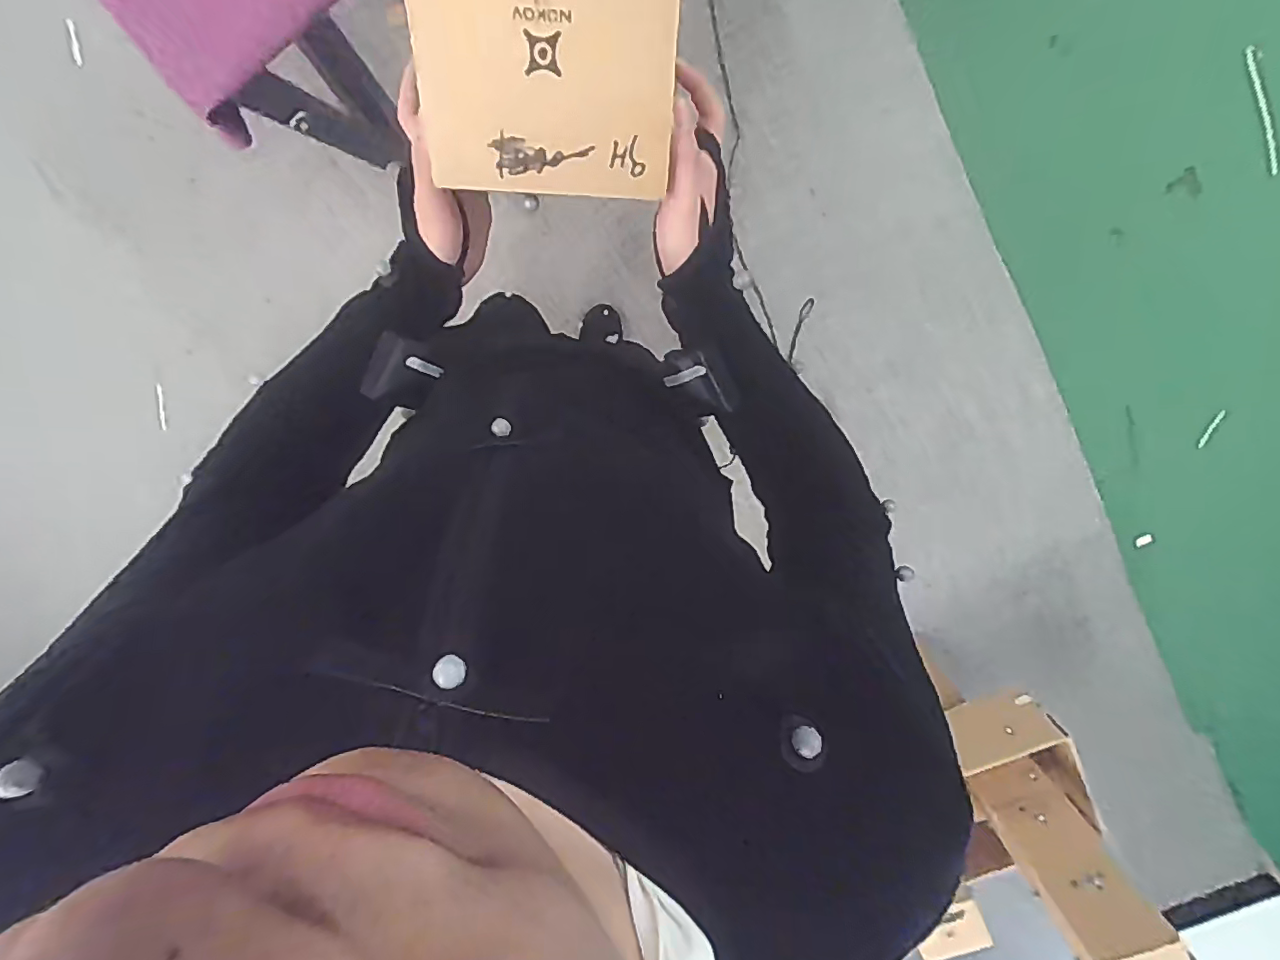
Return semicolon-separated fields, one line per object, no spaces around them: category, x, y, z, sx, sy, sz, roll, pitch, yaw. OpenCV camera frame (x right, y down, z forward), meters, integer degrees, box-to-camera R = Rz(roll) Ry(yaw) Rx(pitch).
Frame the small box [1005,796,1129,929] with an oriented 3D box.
small box;0.999;0.886;1.260;0.168;0.176;0.179;-25;107;9

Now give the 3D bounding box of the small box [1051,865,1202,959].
small box;0.994;0.941;1.106;0.168;0.176;0.179;-26;107;9

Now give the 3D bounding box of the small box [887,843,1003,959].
small box;0.732;1.023;1.316;0.168;0.176;0.179;-26;107;11

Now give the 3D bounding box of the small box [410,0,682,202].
small box;-0.056;-0.317;0.399;0.168;0.176;0.179;4;124;0
